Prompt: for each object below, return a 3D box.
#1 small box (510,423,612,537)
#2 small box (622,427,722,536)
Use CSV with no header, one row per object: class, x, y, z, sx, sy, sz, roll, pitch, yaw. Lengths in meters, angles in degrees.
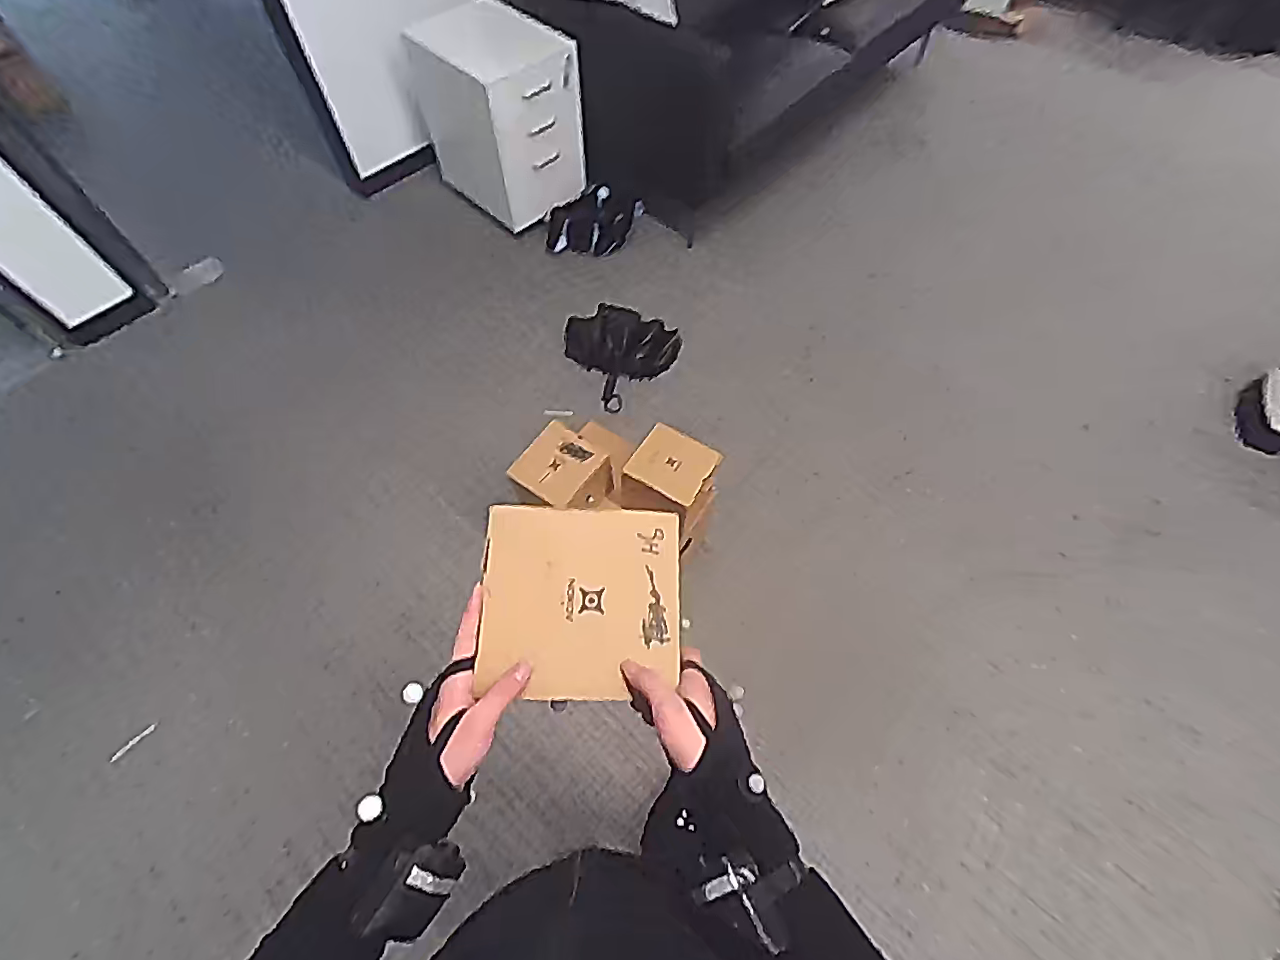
small box,-0.179,0.005,1.287,0.168,0.176,0.179,32,68,16
small box,0.072,0.011,1.287,0.179,0.176,0.168,28,60,16
